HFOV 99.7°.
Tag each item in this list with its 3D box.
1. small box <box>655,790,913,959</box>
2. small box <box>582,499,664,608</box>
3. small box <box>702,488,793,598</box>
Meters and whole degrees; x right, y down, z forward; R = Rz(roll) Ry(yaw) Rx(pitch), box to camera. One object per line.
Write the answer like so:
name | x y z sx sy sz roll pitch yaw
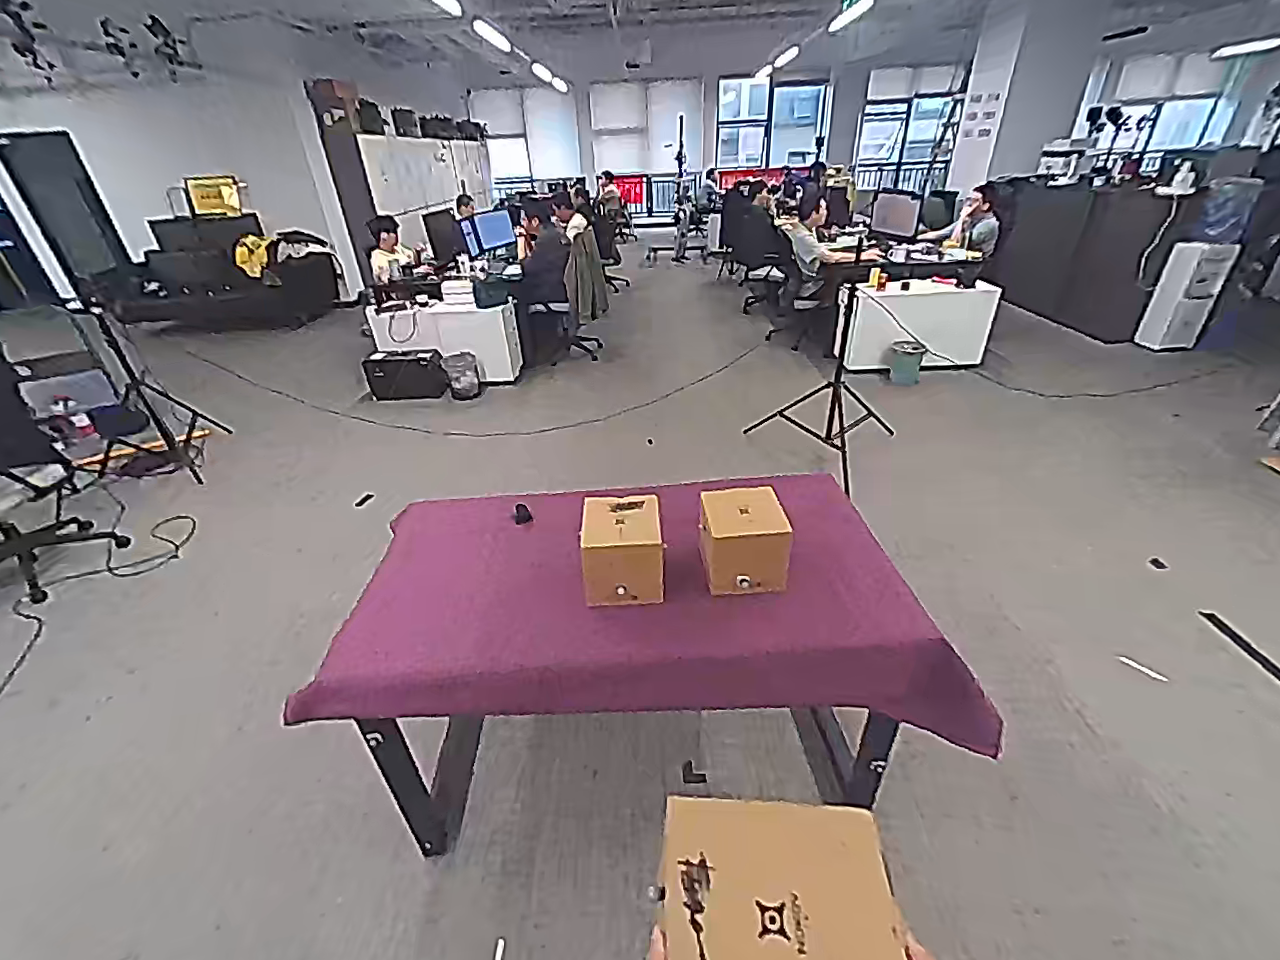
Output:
small box | 0.104 0.385 0.443 0.179 0.176 0.168 4 36 2
small box | -0.034 0.160 1.194 0.168 0.176 0.179 -4 31 0
small box | 0.232 0.139 1.208 0.168 0.176 0.179 -5 32 -1
